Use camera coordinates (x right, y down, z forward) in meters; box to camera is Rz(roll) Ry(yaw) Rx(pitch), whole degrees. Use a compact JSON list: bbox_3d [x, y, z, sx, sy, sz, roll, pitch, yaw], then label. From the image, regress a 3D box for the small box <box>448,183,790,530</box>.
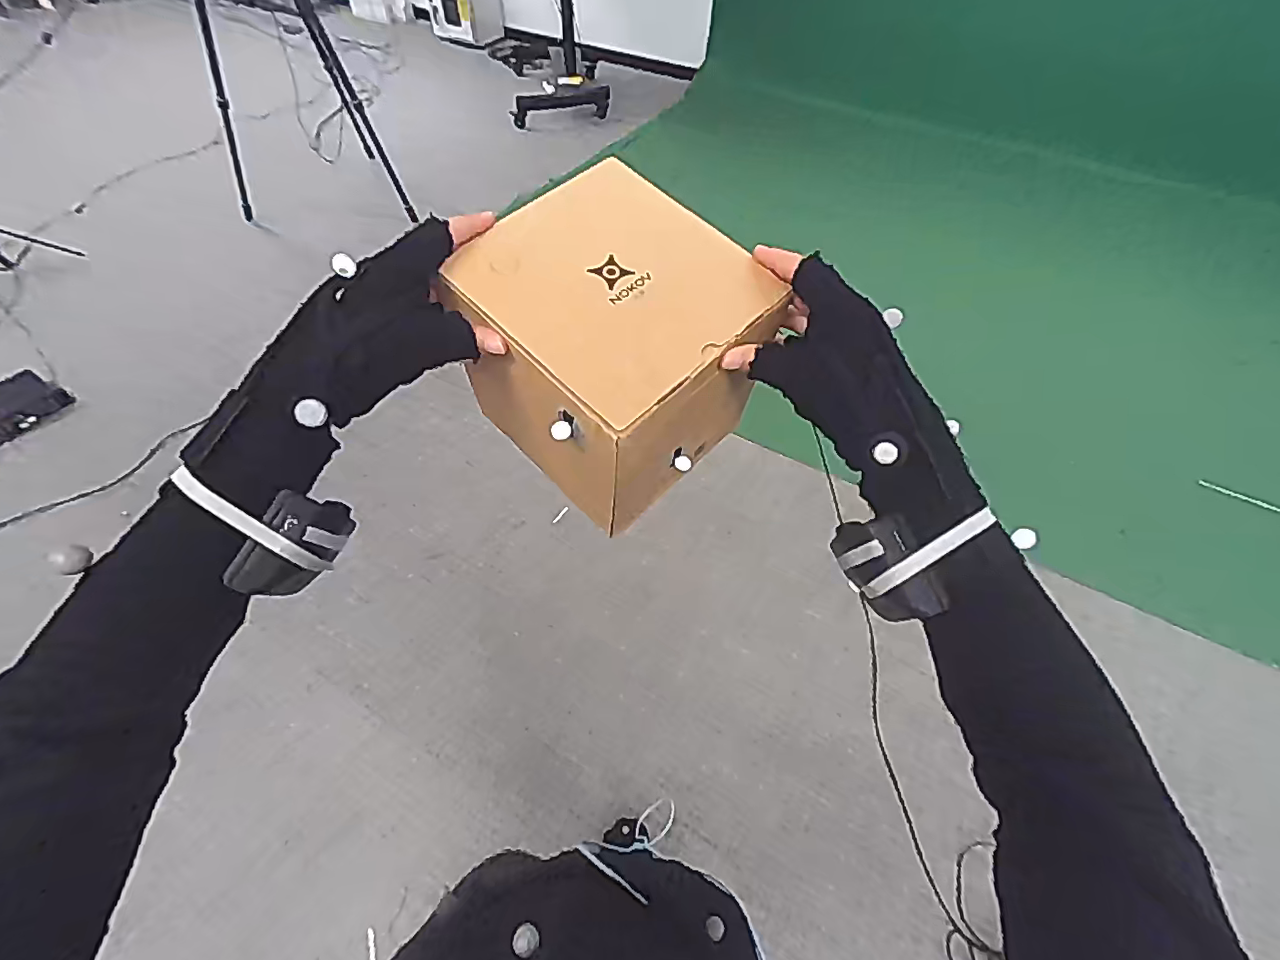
[{"bbox_3d":[-0.020,-0.089,0.436,0.179,0.176,0.168,43,68,15],"label":"small box"}]
